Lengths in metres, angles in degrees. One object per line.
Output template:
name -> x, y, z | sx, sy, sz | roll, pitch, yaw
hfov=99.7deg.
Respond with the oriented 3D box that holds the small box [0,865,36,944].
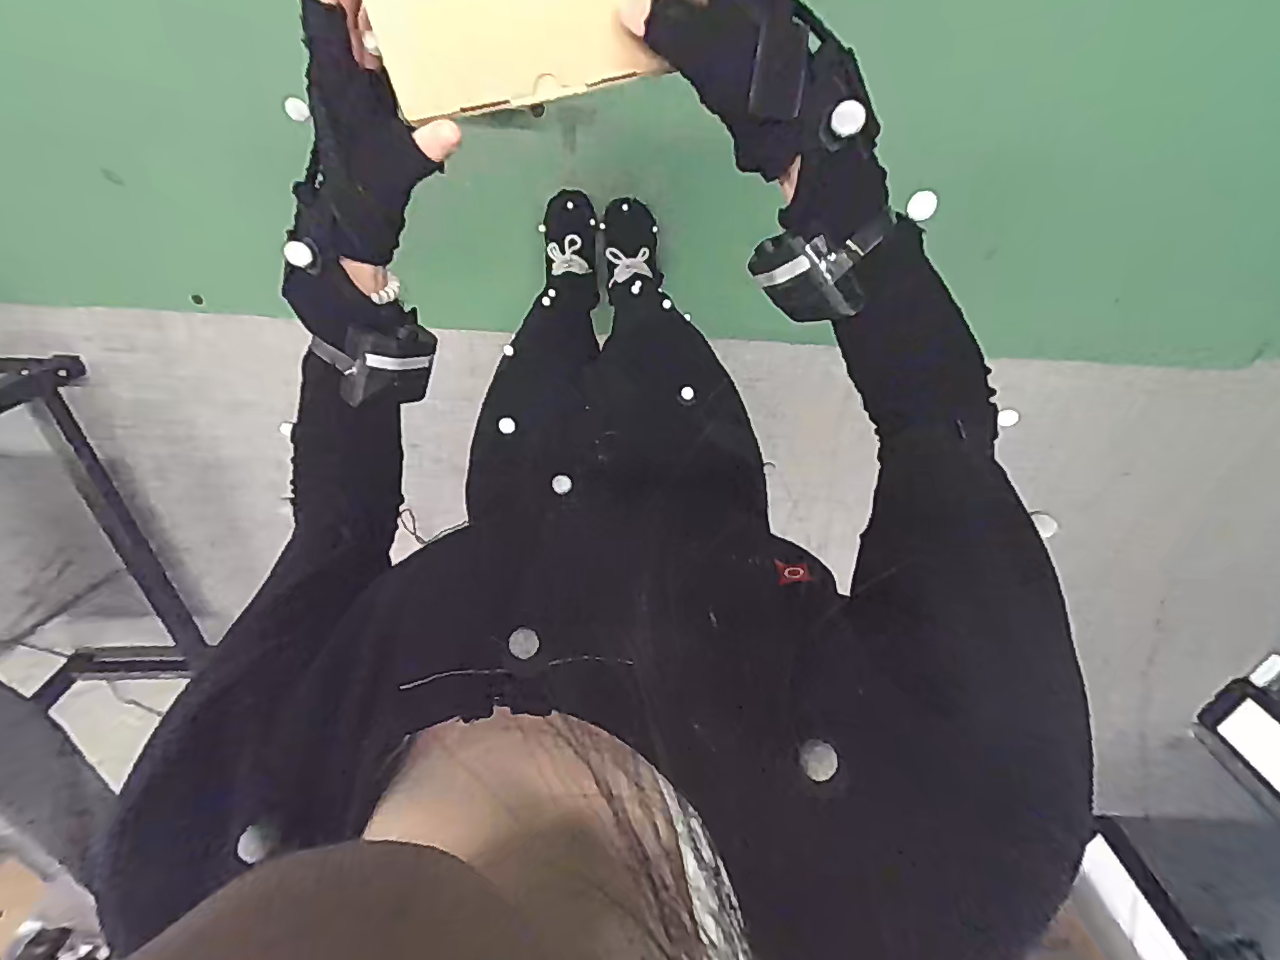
small box -> -1.547, 0.982, 1.209 | 0.168, 0.176, 0.179 | 1, 123, -4
